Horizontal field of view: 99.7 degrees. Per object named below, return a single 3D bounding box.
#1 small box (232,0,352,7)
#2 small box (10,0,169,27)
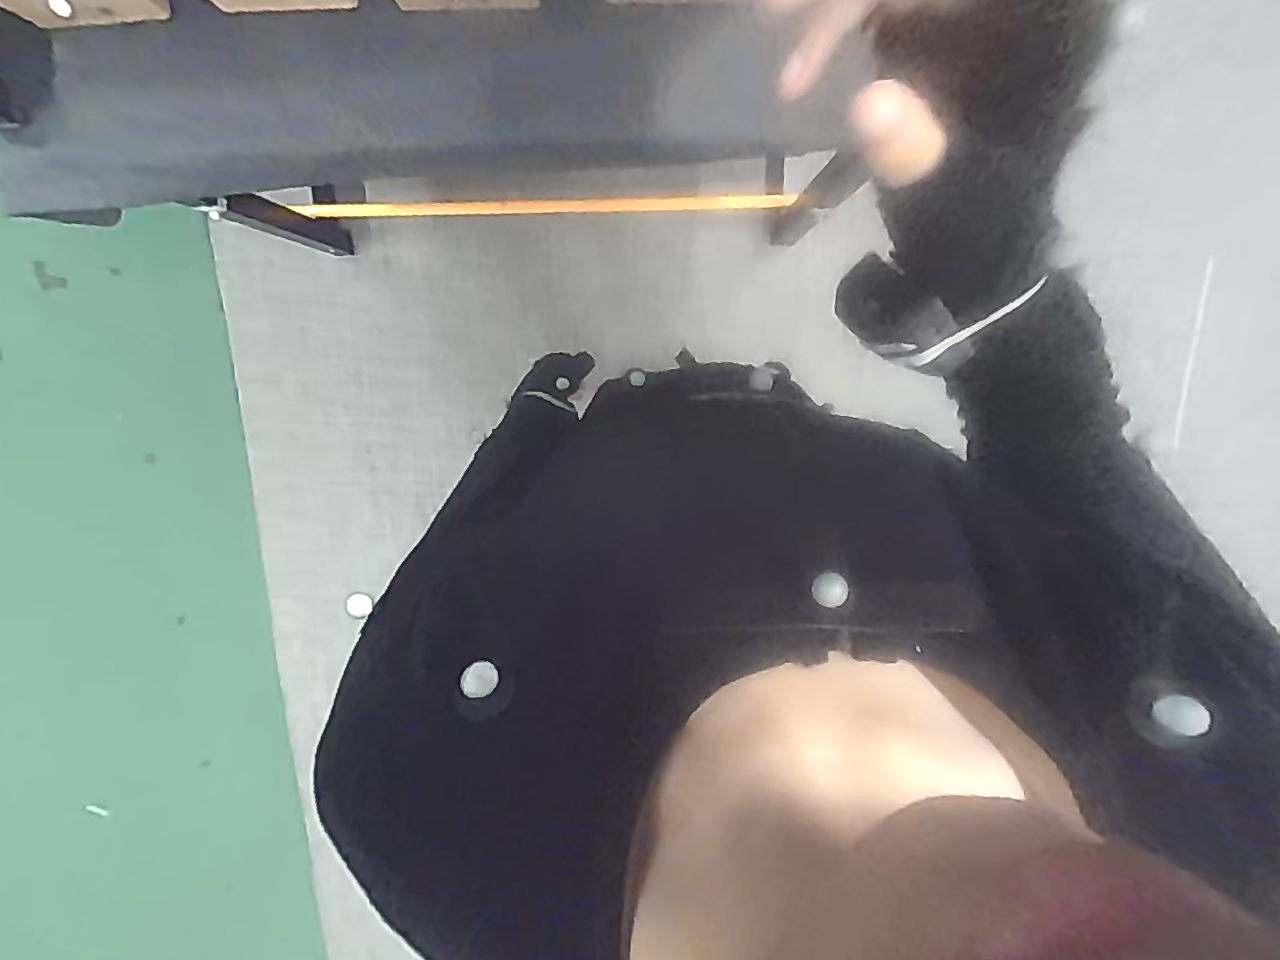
[{"bbox_3d":[-0.414,-0.623,0.545,0.168,0.176,0.179,0,101,1],"label":"small box"},{"bbox_3d":[-0.641,-0.614,0.550,0.168,0.176,0.179,-2,102,2],"label":"small box"}]
